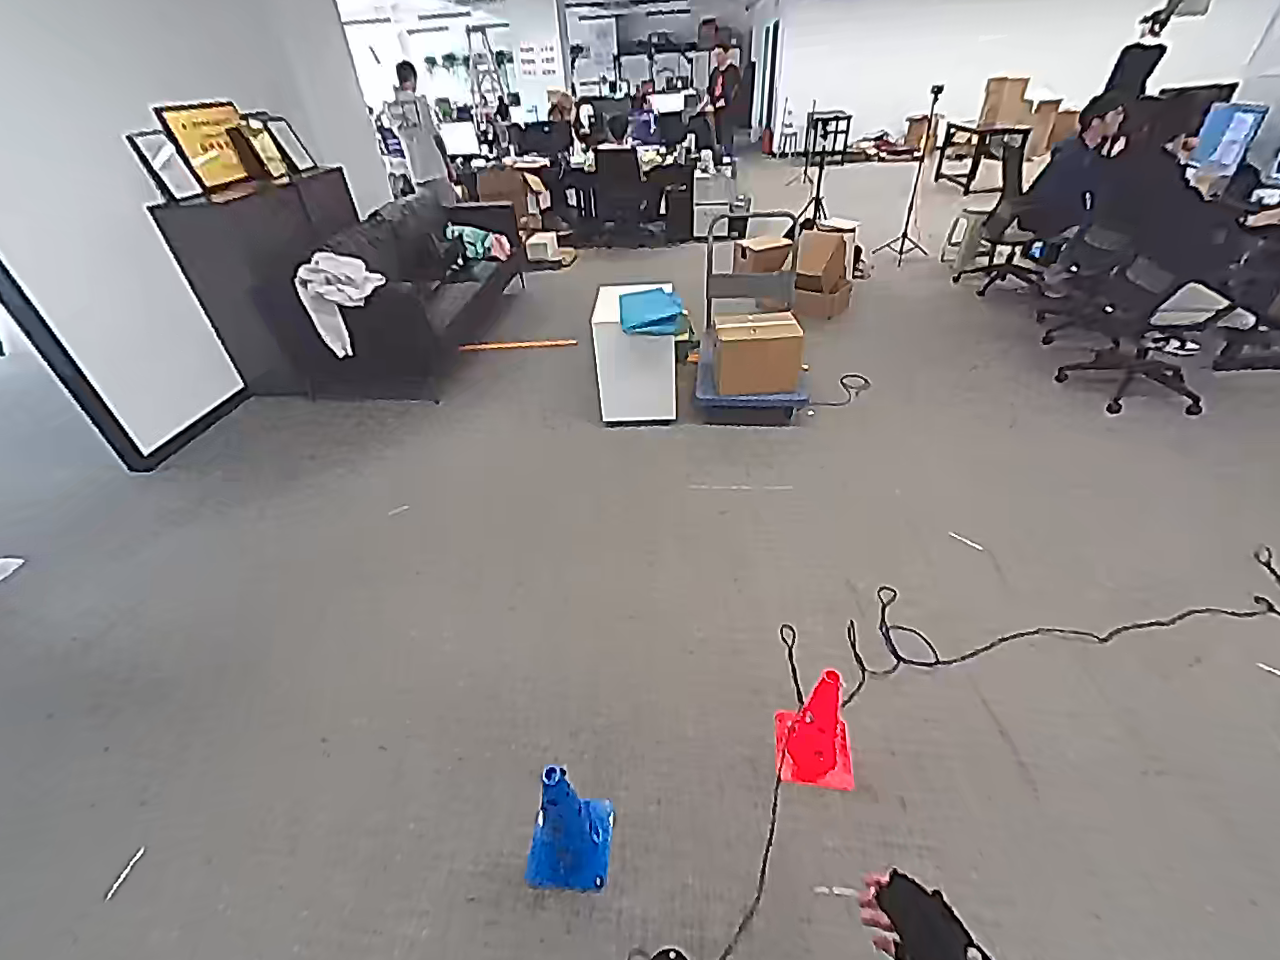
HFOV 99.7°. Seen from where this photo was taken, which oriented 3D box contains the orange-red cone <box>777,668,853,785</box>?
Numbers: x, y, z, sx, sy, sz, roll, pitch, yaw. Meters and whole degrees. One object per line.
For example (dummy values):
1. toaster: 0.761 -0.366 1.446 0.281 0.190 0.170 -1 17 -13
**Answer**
1. orange-red cone: 0.472 0.607 1.406 0.198 0.360 0.199 3 39 11
